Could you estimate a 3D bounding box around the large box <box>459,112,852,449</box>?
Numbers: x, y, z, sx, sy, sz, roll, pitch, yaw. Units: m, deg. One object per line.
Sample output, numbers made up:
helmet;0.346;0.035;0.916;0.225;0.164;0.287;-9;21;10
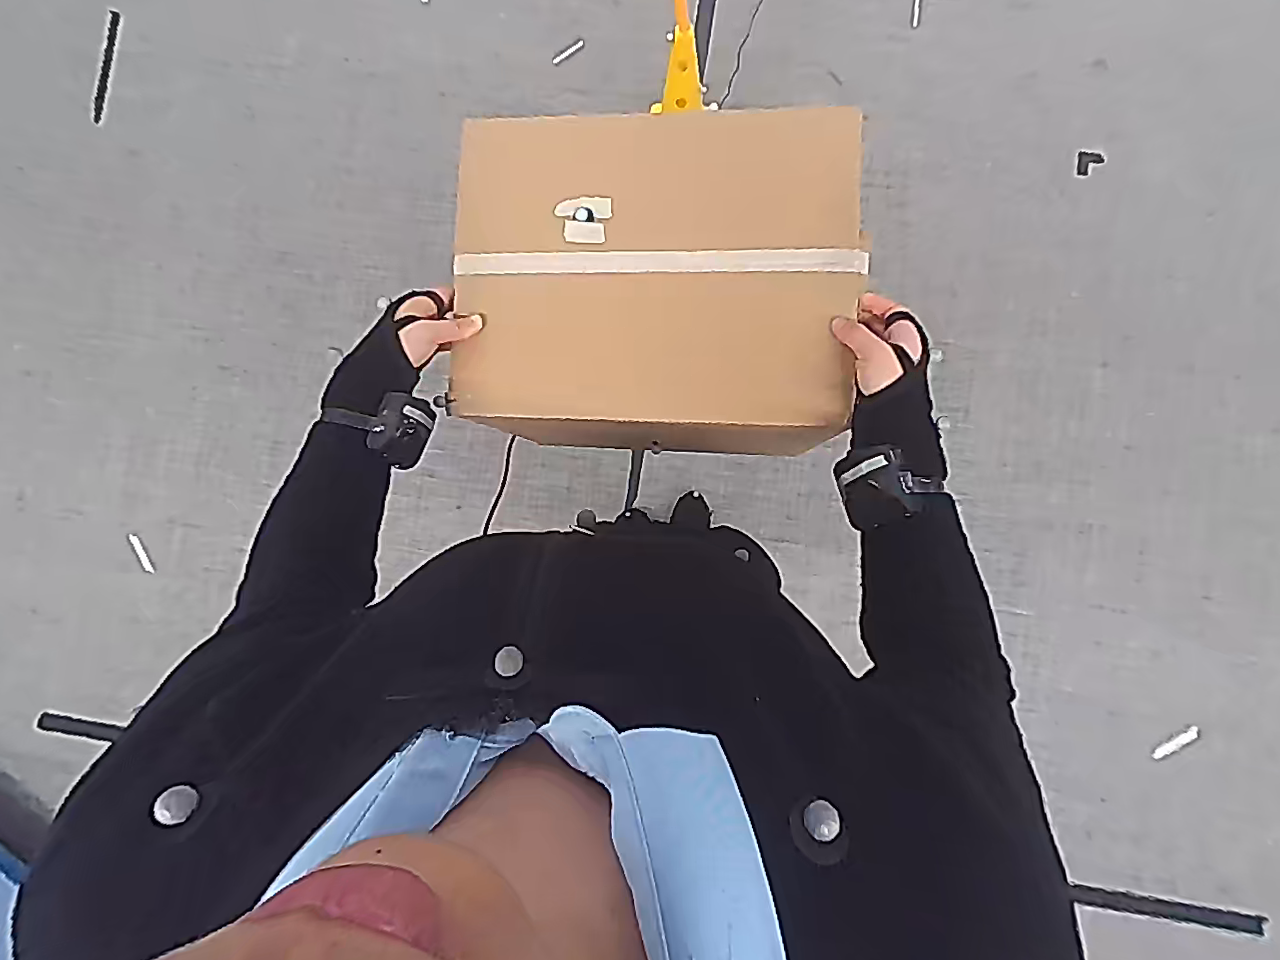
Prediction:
large box;0.030;-0.207;0.697;0.408;0.320;0.320;2;87;8
